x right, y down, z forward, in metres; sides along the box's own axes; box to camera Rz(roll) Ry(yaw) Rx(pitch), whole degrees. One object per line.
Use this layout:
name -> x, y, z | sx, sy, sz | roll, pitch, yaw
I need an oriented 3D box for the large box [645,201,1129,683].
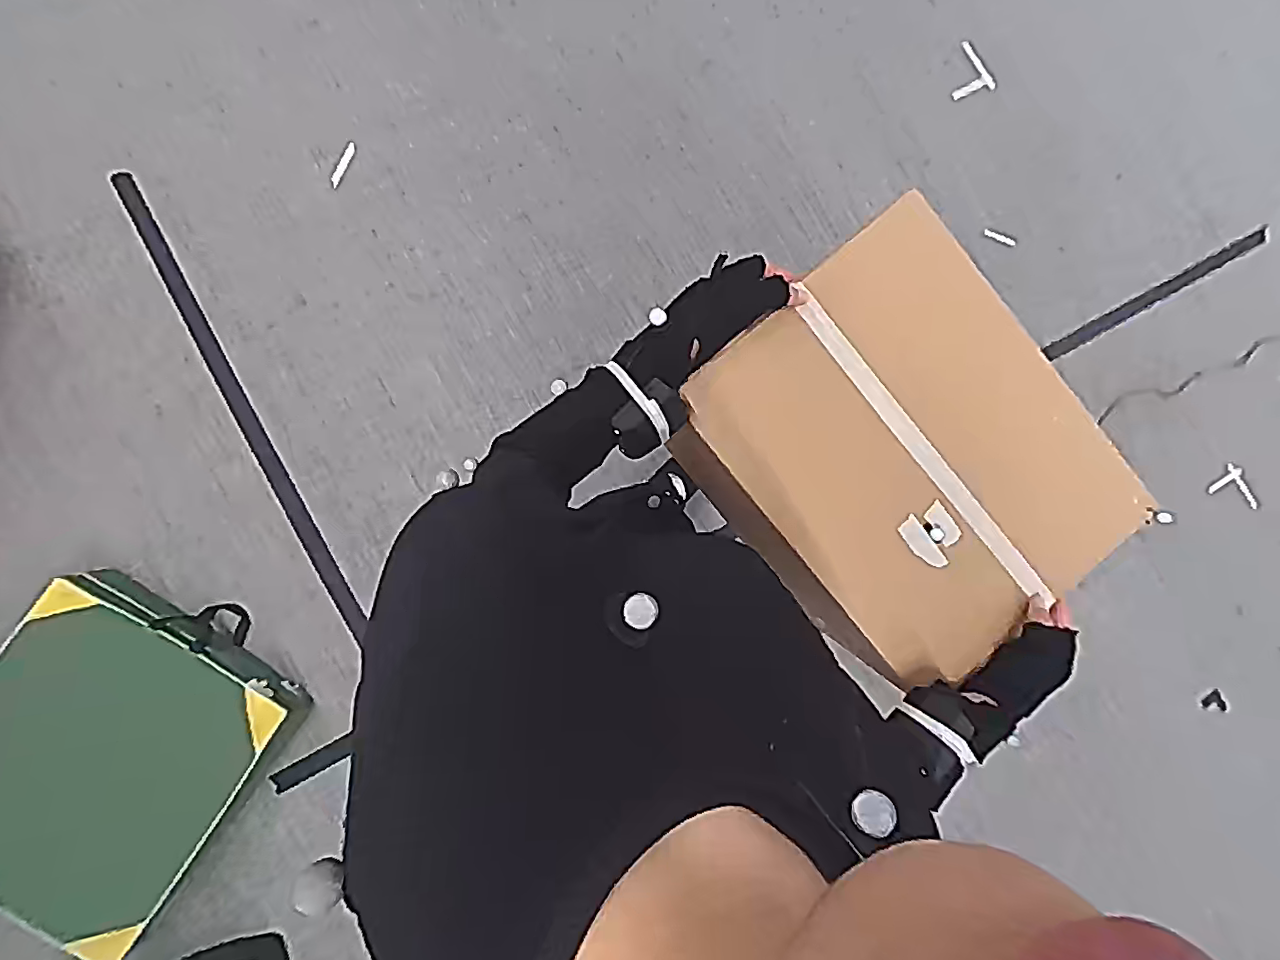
large box -> 0.258, -0.040, 0.692 | 0.320, 0.320, 0.408 | -40, 94, -2
